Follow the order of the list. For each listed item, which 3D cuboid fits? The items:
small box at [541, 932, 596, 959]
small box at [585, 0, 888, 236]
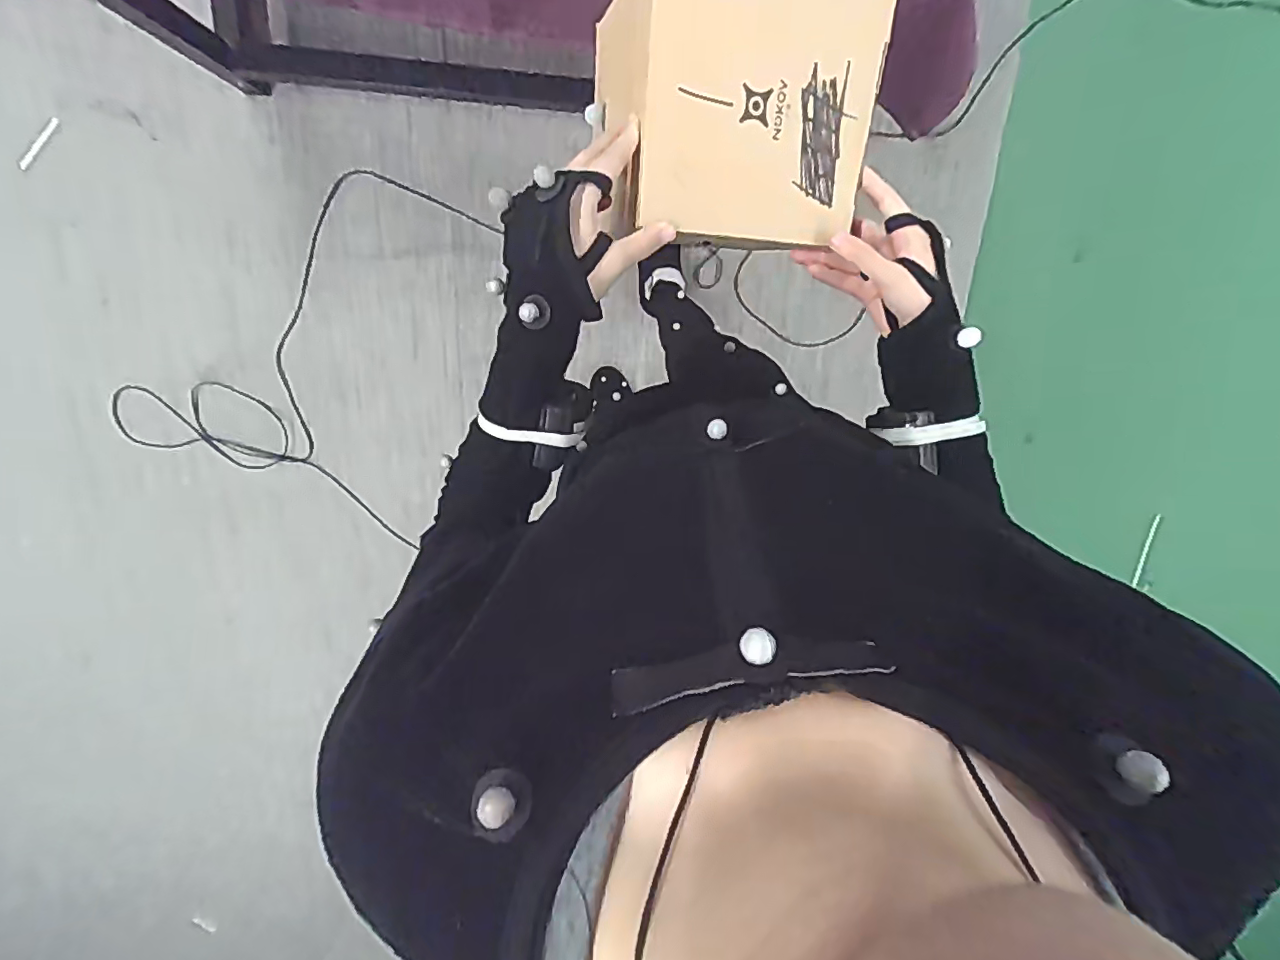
[{"bbox_3d":[-0.220,1.515,1.637,0.168,0.176,0.179,4,106,-6],"label":"small box"},{"bbox_3d":[0.060,-0.296,0.441,0.179,0.176,0.168,-2,112,-16],"label":"small box"}]
